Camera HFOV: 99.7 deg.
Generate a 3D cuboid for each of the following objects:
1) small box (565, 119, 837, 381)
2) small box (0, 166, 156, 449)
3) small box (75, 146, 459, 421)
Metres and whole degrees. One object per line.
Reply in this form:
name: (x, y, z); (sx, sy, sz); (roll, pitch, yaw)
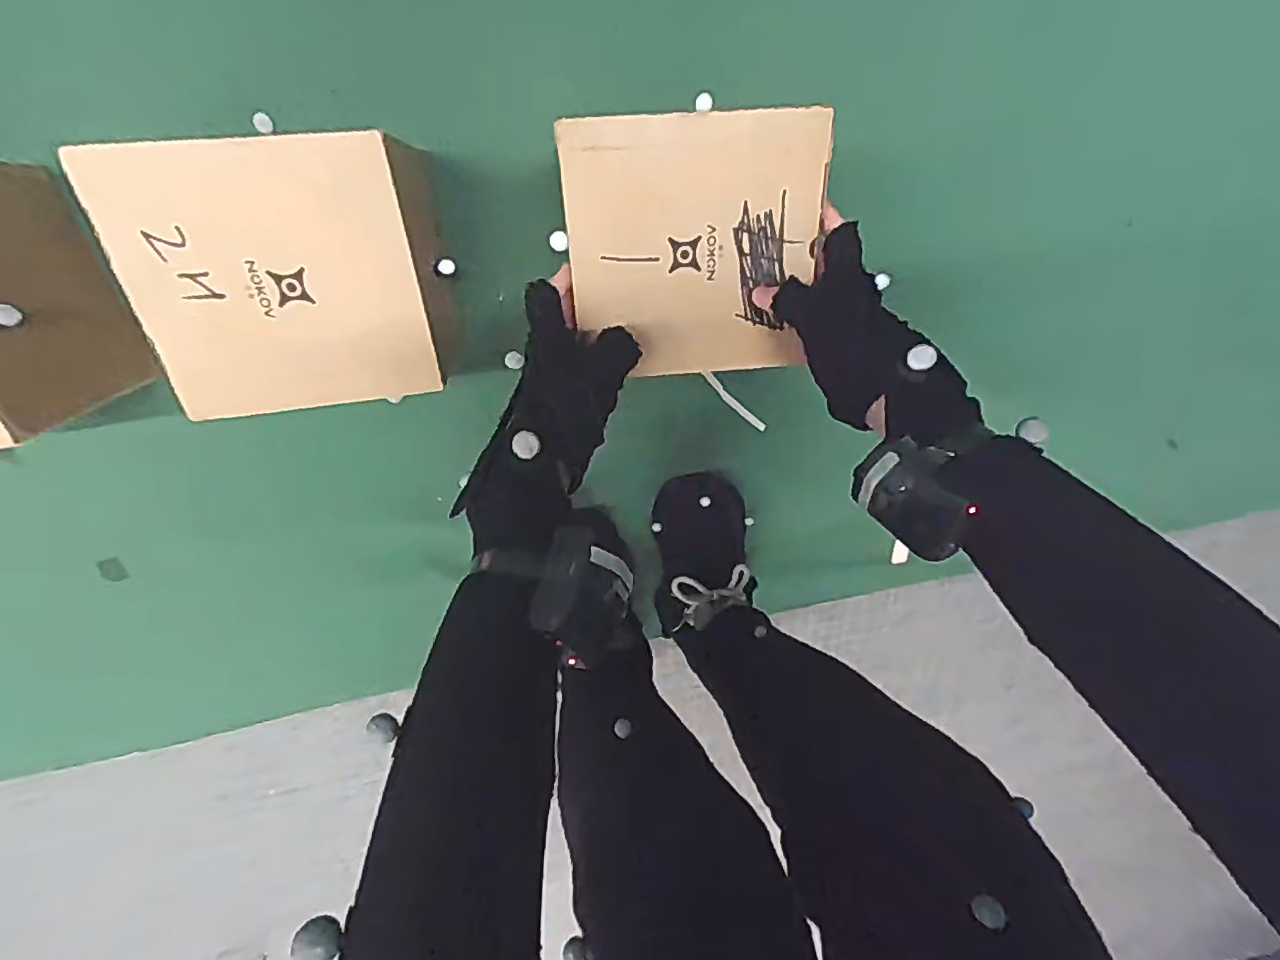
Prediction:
small box: (0.034, -0.189, 0.442); (0.179, 0.176, 0.168); (-4, 118, -3)
small box: (-0.515, -0.122, 0.383); (0.168, 0.176, 0.179); (-10, 120, -7)
small box: (-0.245, -0.159, 0.421); (0.179, 0.176, 0.168); (-7, 118, -9)
